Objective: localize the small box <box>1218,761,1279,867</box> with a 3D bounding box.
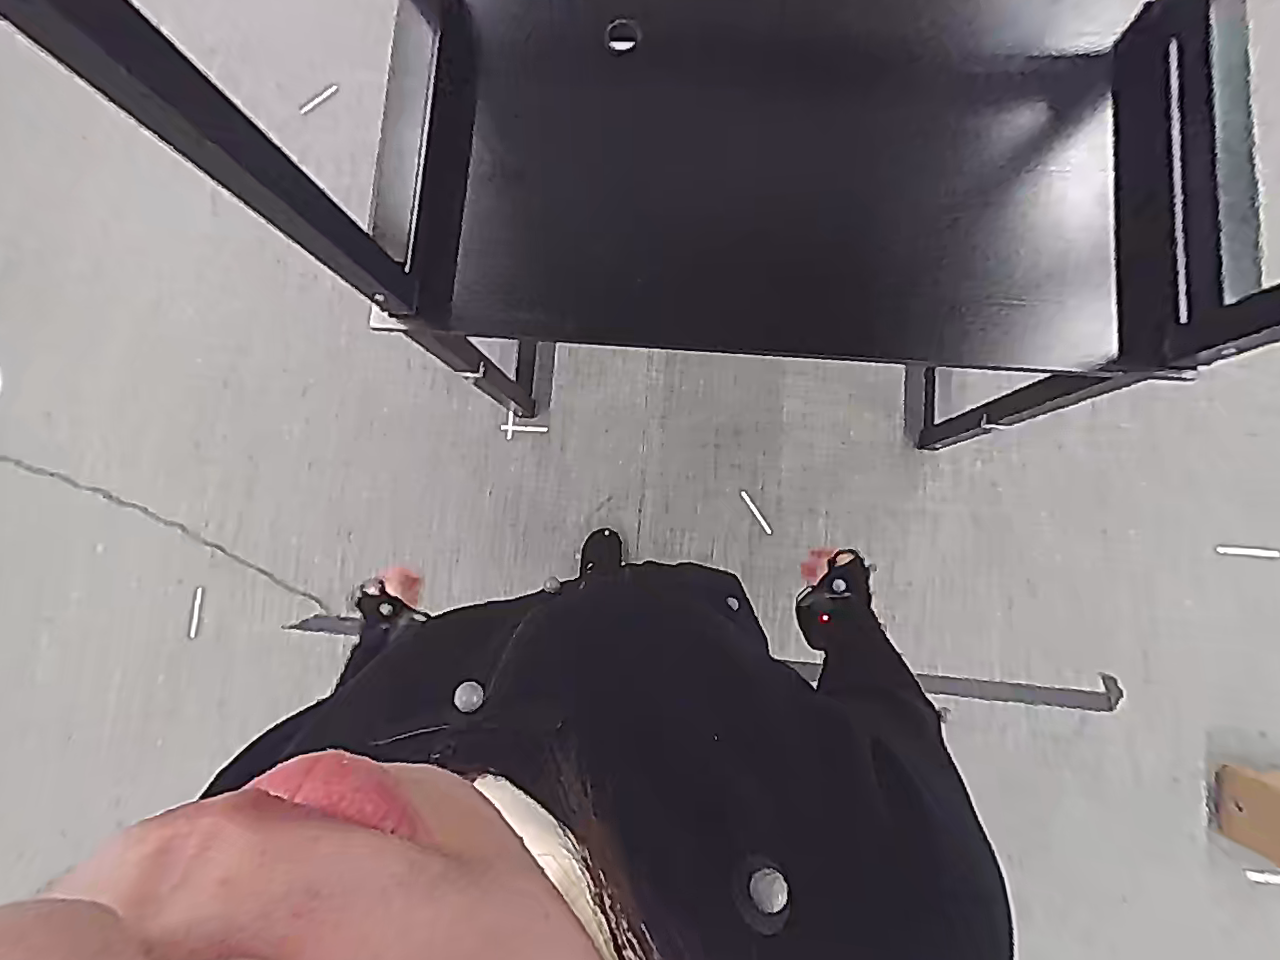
[{"bbox_3d":[1.529,0.797,1.272,0.168,0.176,0.179,6,86,4],"label":"small box"}]
